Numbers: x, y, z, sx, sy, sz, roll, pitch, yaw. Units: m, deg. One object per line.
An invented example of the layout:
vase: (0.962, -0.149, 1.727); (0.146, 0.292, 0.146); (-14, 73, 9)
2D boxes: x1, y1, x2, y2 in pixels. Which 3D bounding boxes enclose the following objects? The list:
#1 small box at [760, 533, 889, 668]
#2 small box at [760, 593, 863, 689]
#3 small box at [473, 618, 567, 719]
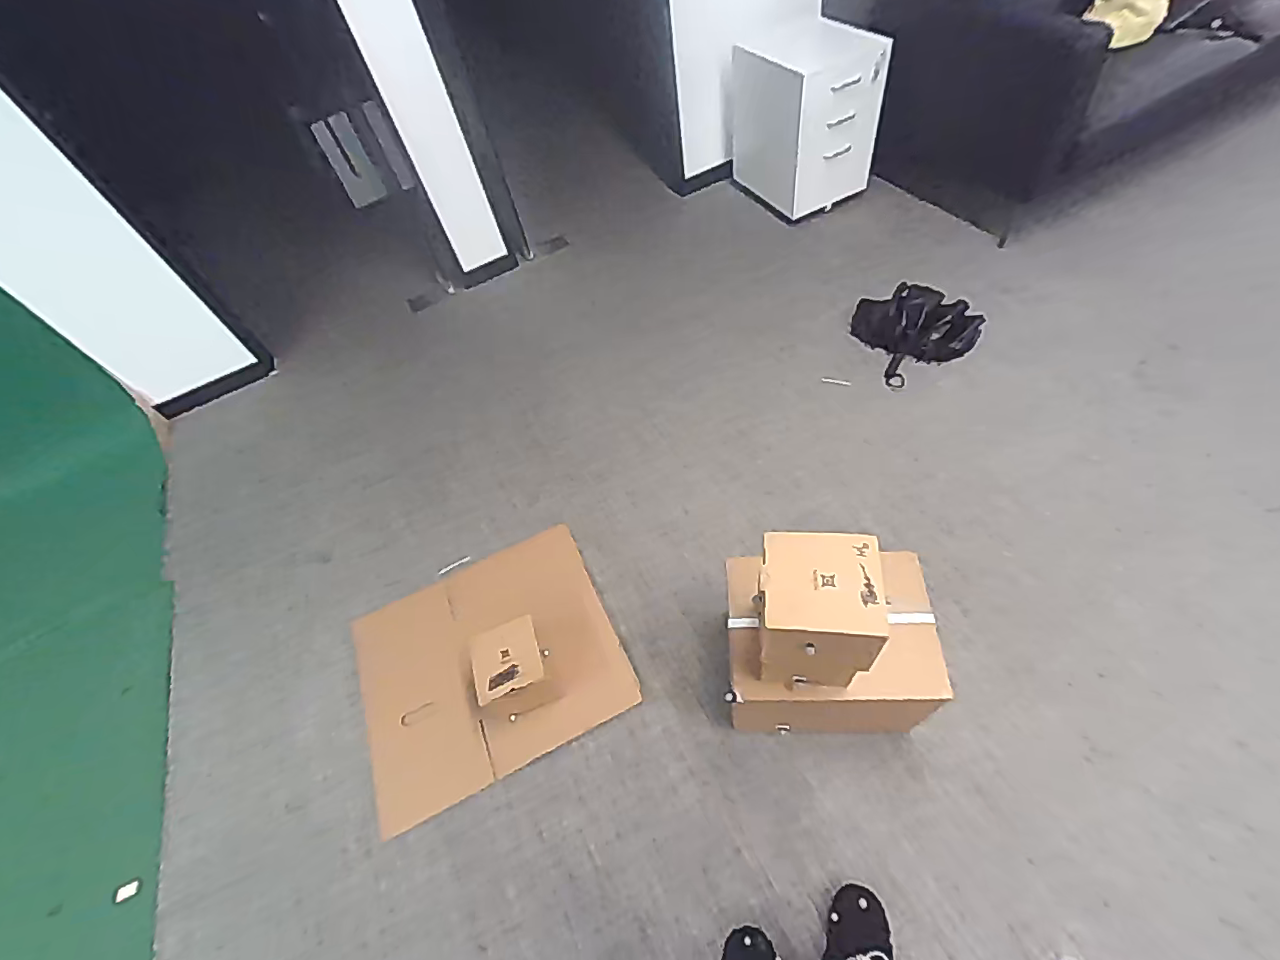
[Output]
small box: (0.290, 0.201, 0.888); (0.179, 0.176, 0.168); (-2, 53, 10)
small box: (0.315, 0.282, 1.026); (0.168, 0.176, 0.179); (-3, 55, 11)
small box: (-0.299, 0.483, 1.365); (0.168, 0.176, 0.179); (-22, 51, -4)
